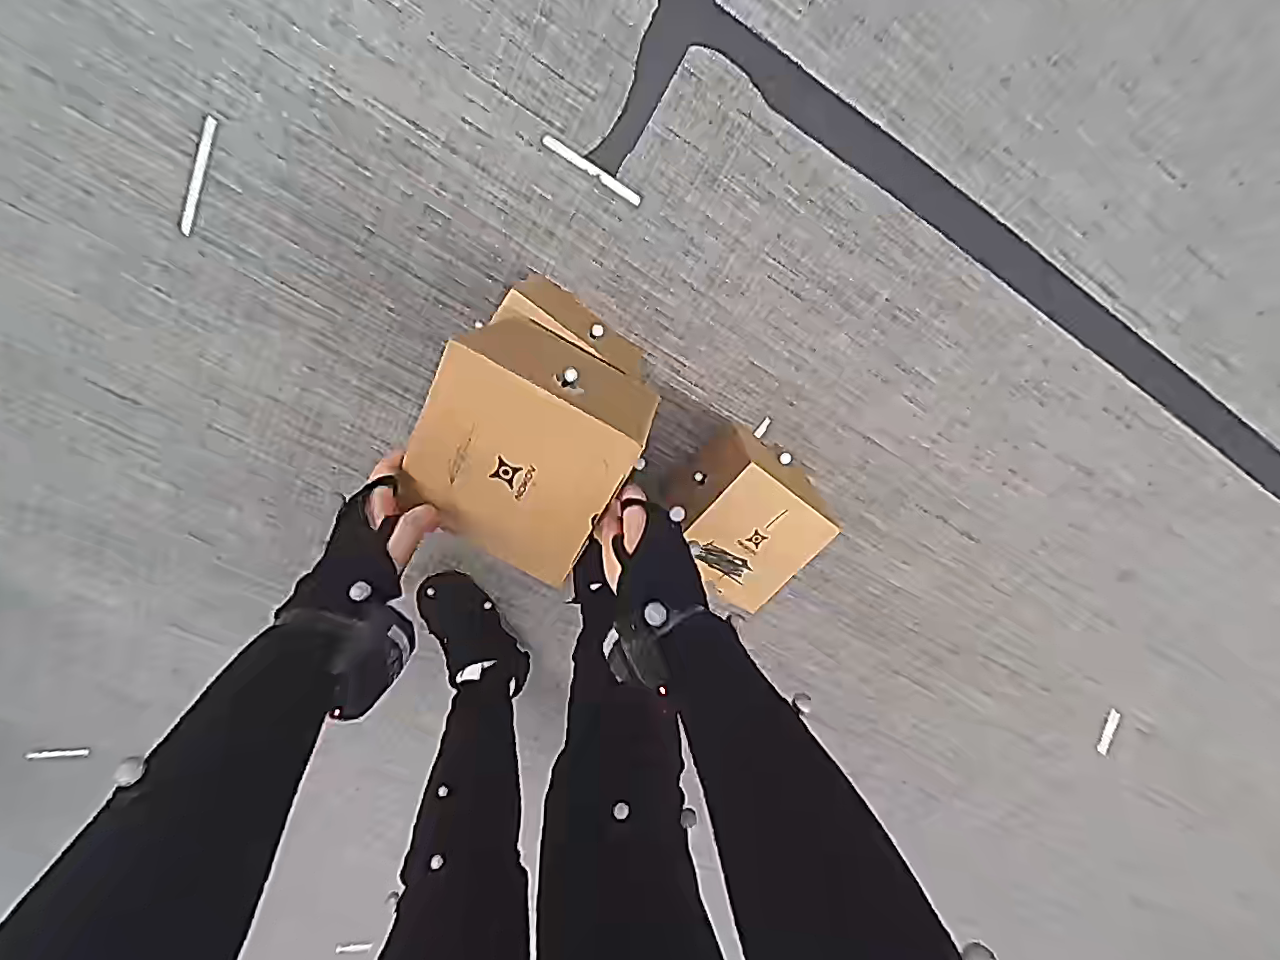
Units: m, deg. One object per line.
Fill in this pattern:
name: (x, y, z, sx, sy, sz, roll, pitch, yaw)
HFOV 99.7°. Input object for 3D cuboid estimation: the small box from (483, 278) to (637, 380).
small box: (-0.114, -0.139, 0.697, 0.179, 0.176, 0.168, 35, 111, -17)

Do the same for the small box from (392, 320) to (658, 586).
small box: (-0.095, -0.038, 0.523, 0.179, 0.176, 0.168, 30, 113, -6)

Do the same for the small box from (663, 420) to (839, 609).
small box: (0.148, 0.044, 0.787, 0.168, 0.176, 0.179, 36, 110, -16)
